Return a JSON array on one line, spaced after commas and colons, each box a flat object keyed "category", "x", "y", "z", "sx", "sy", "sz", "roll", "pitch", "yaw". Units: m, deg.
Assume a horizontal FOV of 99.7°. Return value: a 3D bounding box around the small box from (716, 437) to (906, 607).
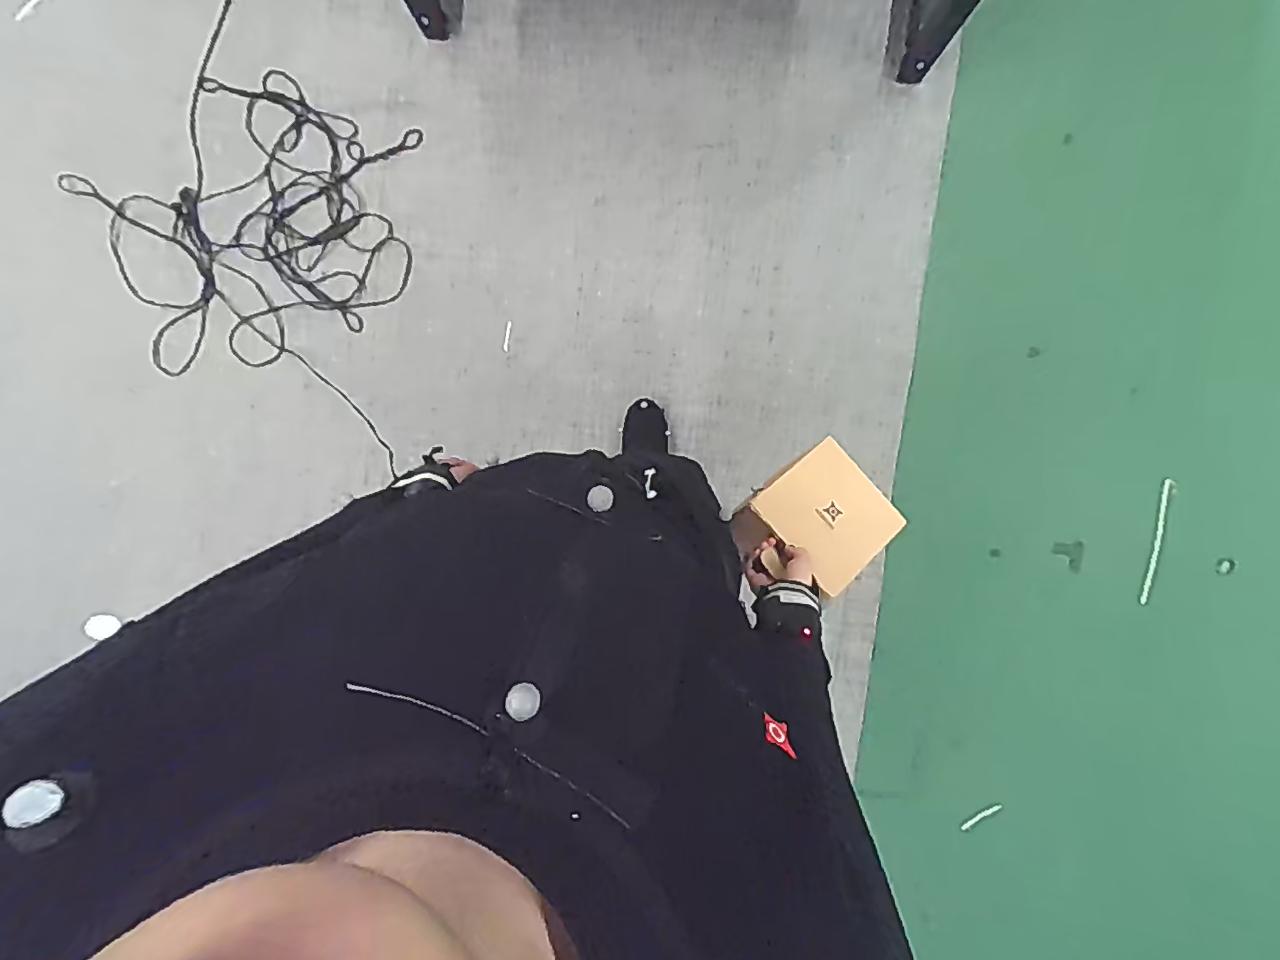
[{"category": "small box", "x": 0.245, "y": 0.070, "z": 0.812, "sx": 0.179, "sy": 0.176, "sz": 0.168, "roll": -38, "pitch": 84, "yaw": -22}]
